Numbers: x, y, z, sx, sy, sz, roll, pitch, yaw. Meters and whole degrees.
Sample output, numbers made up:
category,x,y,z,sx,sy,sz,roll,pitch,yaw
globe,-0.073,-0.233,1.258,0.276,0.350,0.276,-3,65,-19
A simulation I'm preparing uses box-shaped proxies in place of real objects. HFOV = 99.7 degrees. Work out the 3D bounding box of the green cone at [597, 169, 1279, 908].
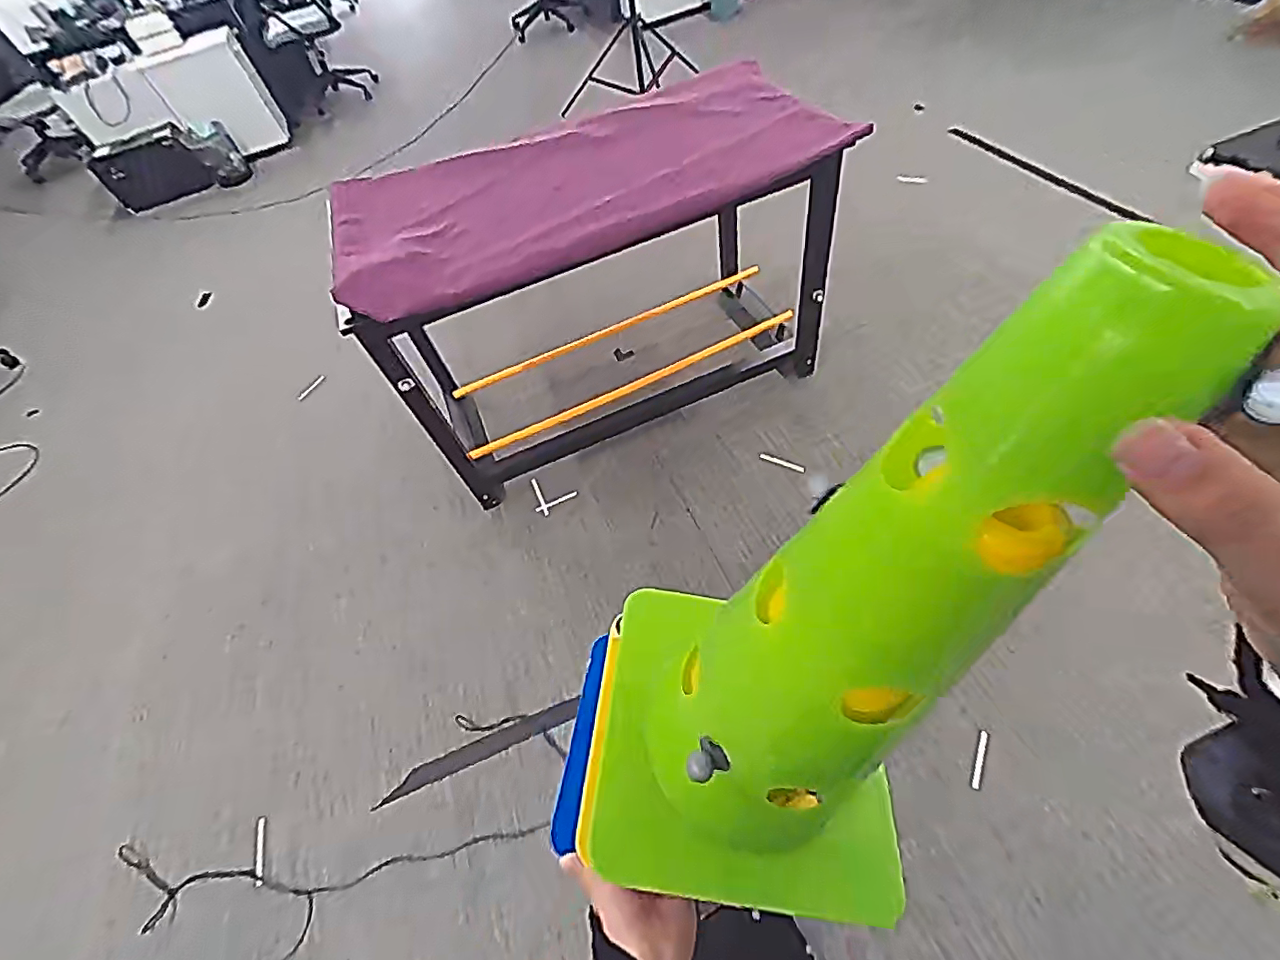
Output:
category,x,y,z,sx,sy,sz,roll,pitch,yaw
green cone,0.103,0.055,0.249,0.200,0.368,0.202,10,50,-1
